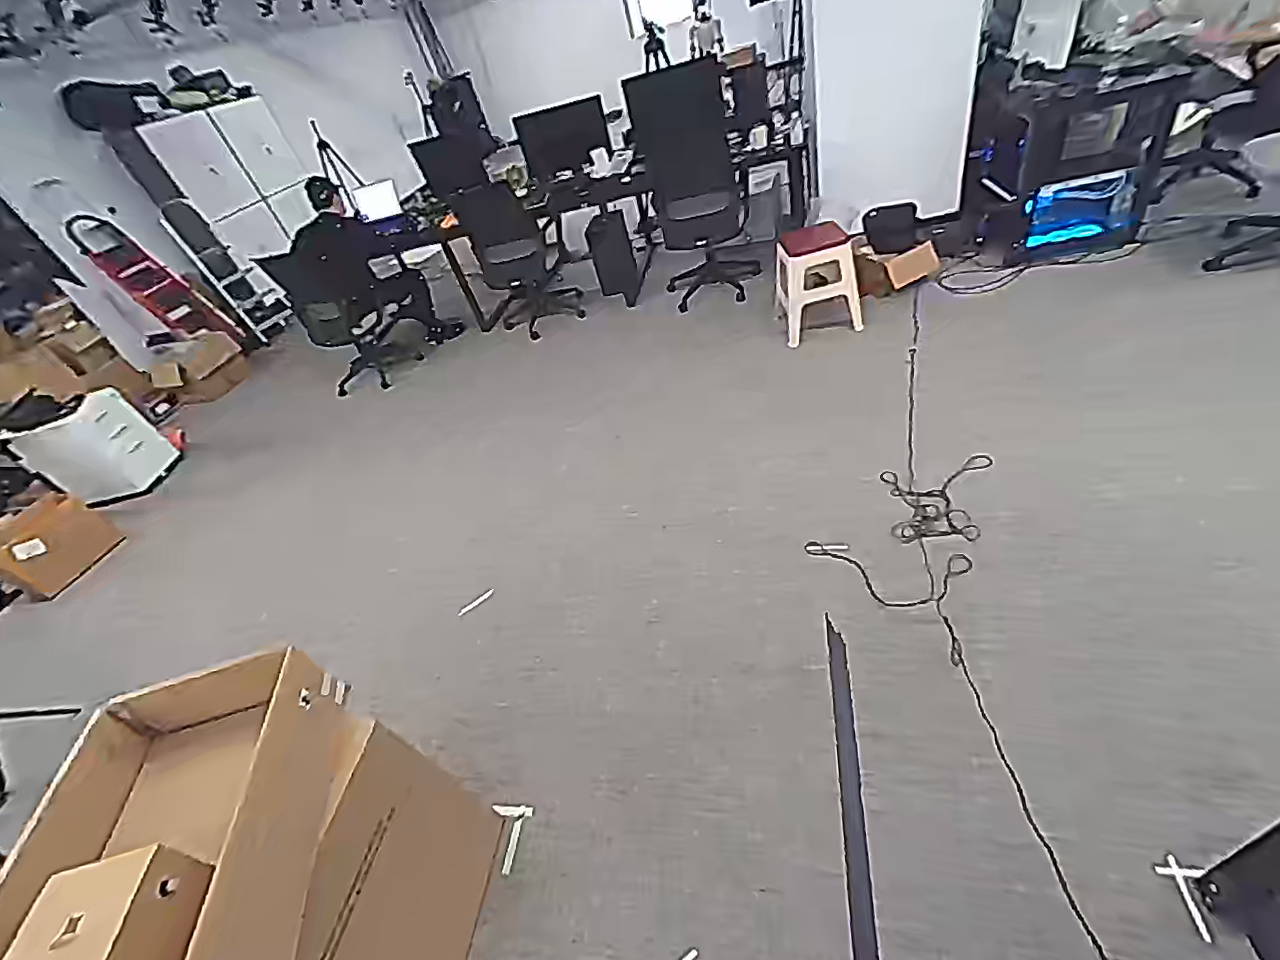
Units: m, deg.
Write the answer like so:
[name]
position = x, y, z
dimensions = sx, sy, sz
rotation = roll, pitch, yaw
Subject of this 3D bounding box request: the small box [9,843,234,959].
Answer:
[small box]
position = -0.731, 0.659, 0.768
dimensions = 0.168, 0.176, 0.179
rotation = -17, 40, 1
